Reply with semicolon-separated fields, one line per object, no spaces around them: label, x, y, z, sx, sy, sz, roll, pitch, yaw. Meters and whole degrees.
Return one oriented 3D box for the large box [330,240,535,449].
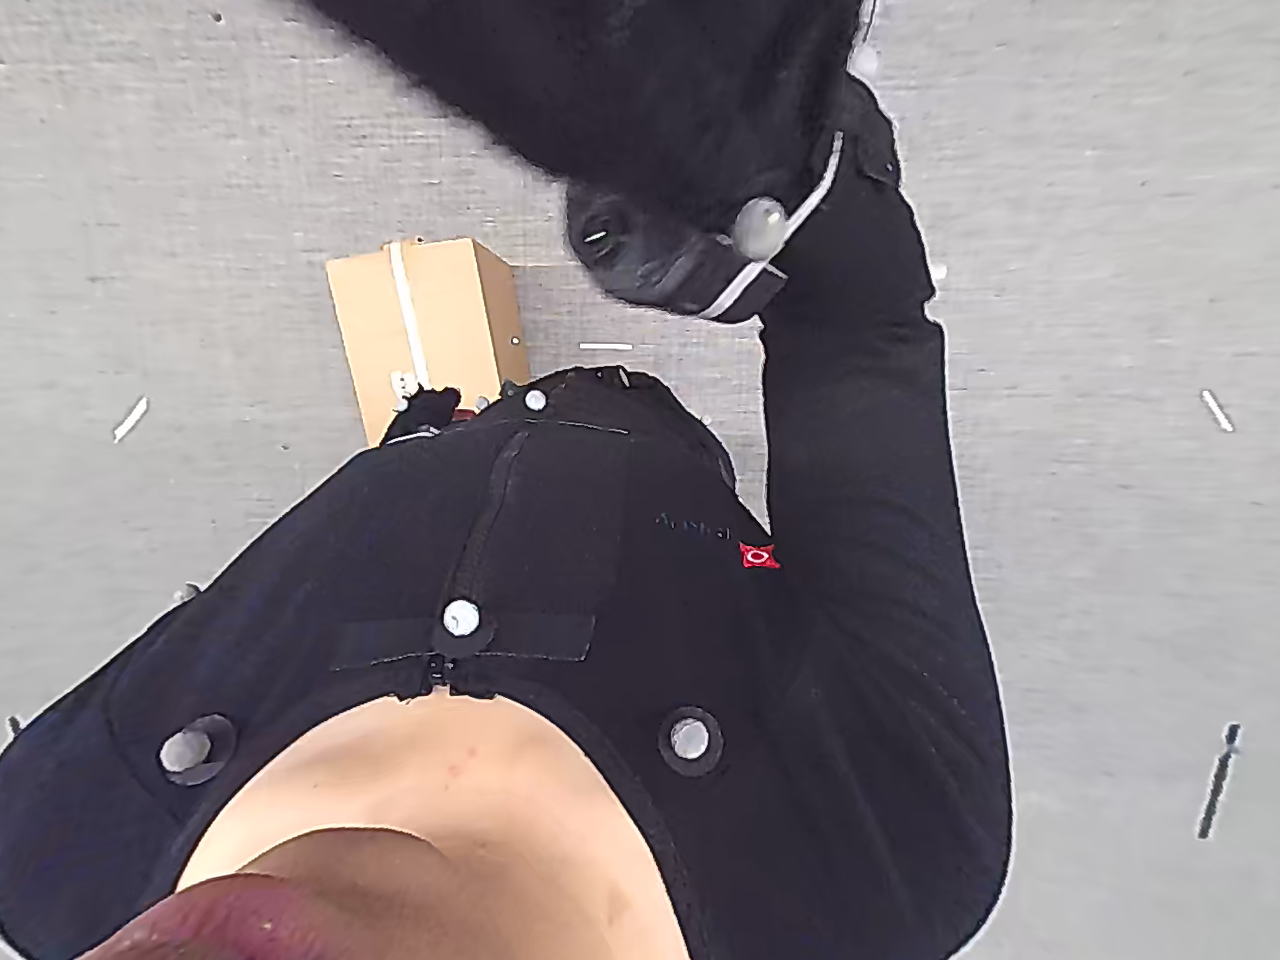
large box;-0.465;-0.313;1.302;0.320;0.320;0.408;-8;102;4
